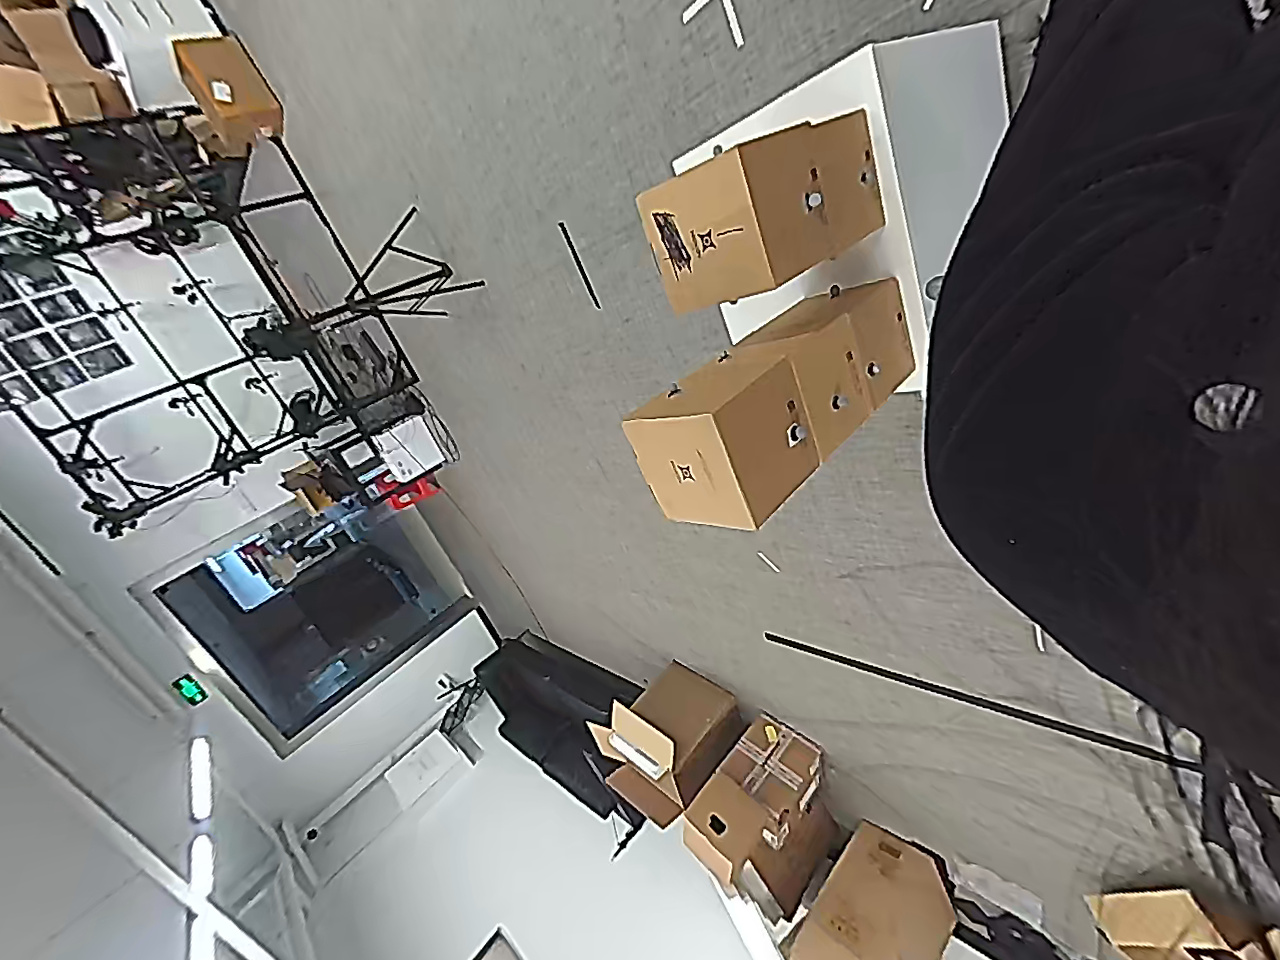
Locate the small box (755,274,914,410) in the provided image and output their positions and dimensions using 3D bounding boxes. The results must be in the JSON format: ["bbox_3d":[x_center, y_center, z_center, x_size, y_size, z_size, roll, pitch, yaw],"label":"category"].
[{"bbox_3d":[0.329,-0.226,0.912,0.179,0.176,0.168,5,125,51],"label":"small box"}]

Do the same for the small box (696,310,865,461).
[{"bbox_3d":[0.220,-0.142,0.825,0.179,0.176,0.168,3,124,51],"label":"small box"}]

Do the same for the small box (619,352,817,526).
[{"bbox_3d":[0.109,-0.058,0.741,0.179,0.176,0.168,2,124,51],"label":"small box"}]

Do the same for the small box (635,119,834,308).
[{"bbox_3d":[0.129,-0.351,0.727,0.179,0.176,0.168,6,127,48],"label":"small box"}]
